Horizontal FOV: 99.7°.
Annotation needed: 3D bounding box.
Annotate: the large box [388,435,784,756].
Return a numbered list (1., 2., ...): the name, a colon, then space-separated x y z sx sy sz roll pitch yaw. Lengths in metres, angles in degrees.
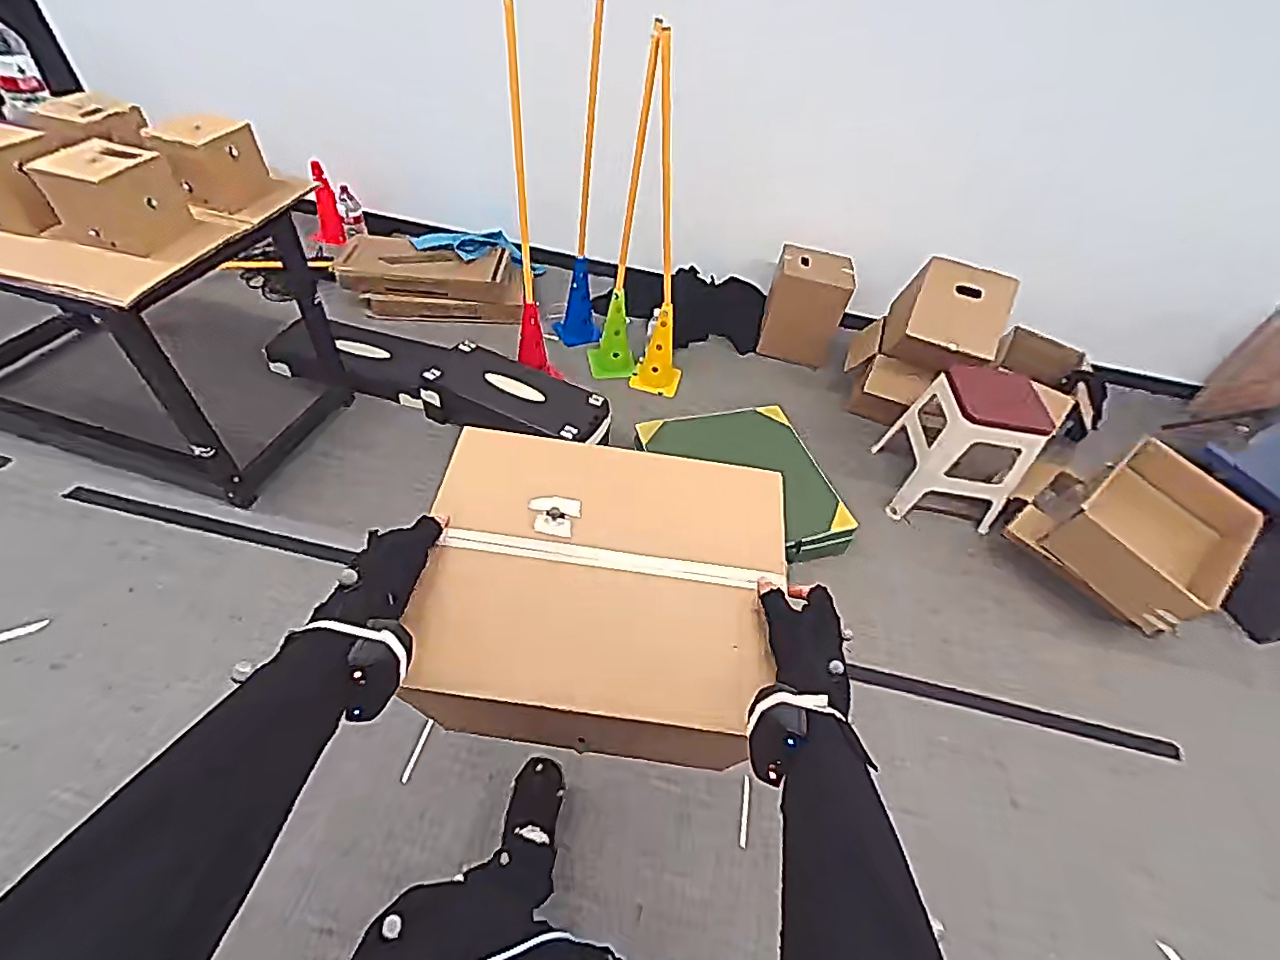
1. large box: -0.048 0.173 0.739 0.408 0.320 0.320 8 56 0
